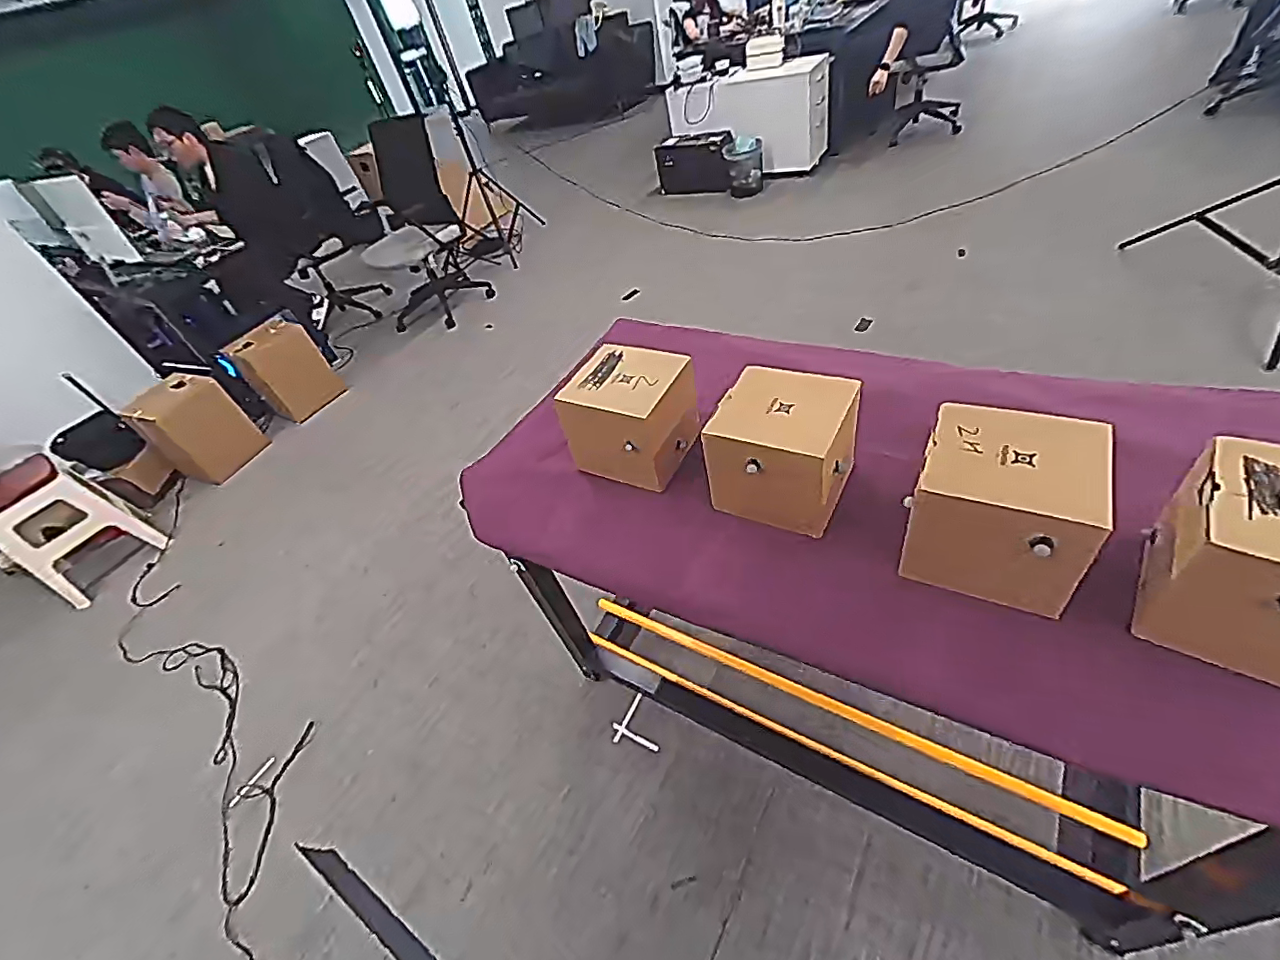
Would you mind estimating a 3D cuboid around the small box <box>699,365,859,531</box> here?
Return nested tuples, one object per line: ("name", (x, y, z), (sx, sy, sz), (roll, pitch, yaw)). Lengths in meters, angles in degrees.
("small box", (0.212, -0.047, 0.810), (0.179, 0.176, 0.168), (15, 52, 30))

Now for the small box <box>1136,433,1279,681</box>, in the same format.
("small box", (0.640, 0.083, 0.537), (0.179, 0.176, 0.168), (20, 54, 33))

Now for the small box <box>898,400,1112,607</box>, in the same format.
("small box", (0.433, 0.029, 0.658), (0.179, 0.176, 0.168), (14, 50, 29))
